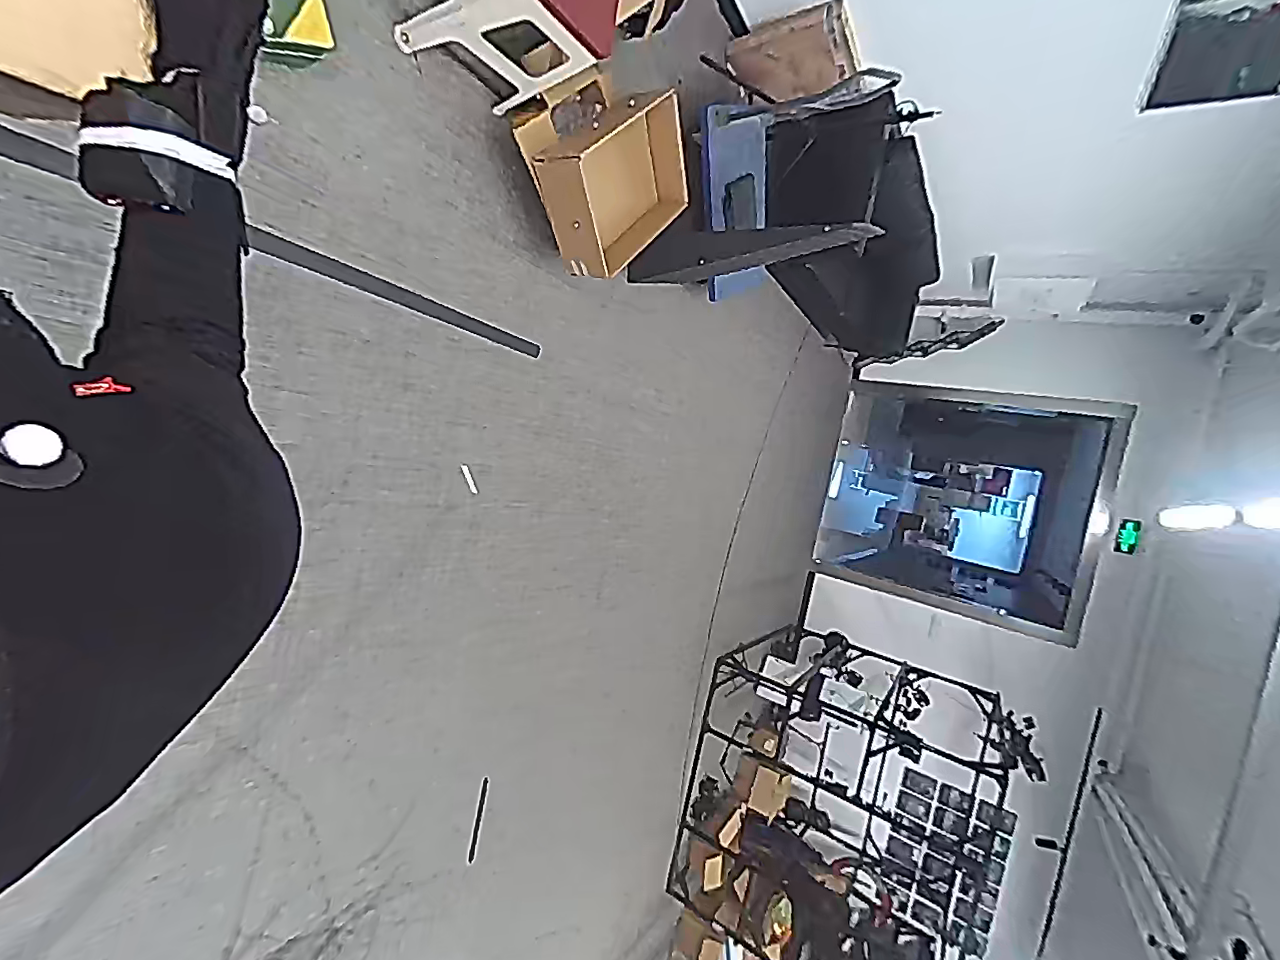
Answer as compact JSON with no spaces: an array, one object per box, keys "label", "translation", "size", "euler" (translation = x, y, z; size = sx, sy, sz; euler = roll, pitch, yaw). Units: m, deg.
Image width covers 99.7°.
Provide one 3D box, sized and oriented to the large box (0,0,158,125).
[{"label":"large box","translation":[-0.538,-0.428,0.253],"size":[0.408,0.320,0.320],"euler":[-8,117,-60]}]
